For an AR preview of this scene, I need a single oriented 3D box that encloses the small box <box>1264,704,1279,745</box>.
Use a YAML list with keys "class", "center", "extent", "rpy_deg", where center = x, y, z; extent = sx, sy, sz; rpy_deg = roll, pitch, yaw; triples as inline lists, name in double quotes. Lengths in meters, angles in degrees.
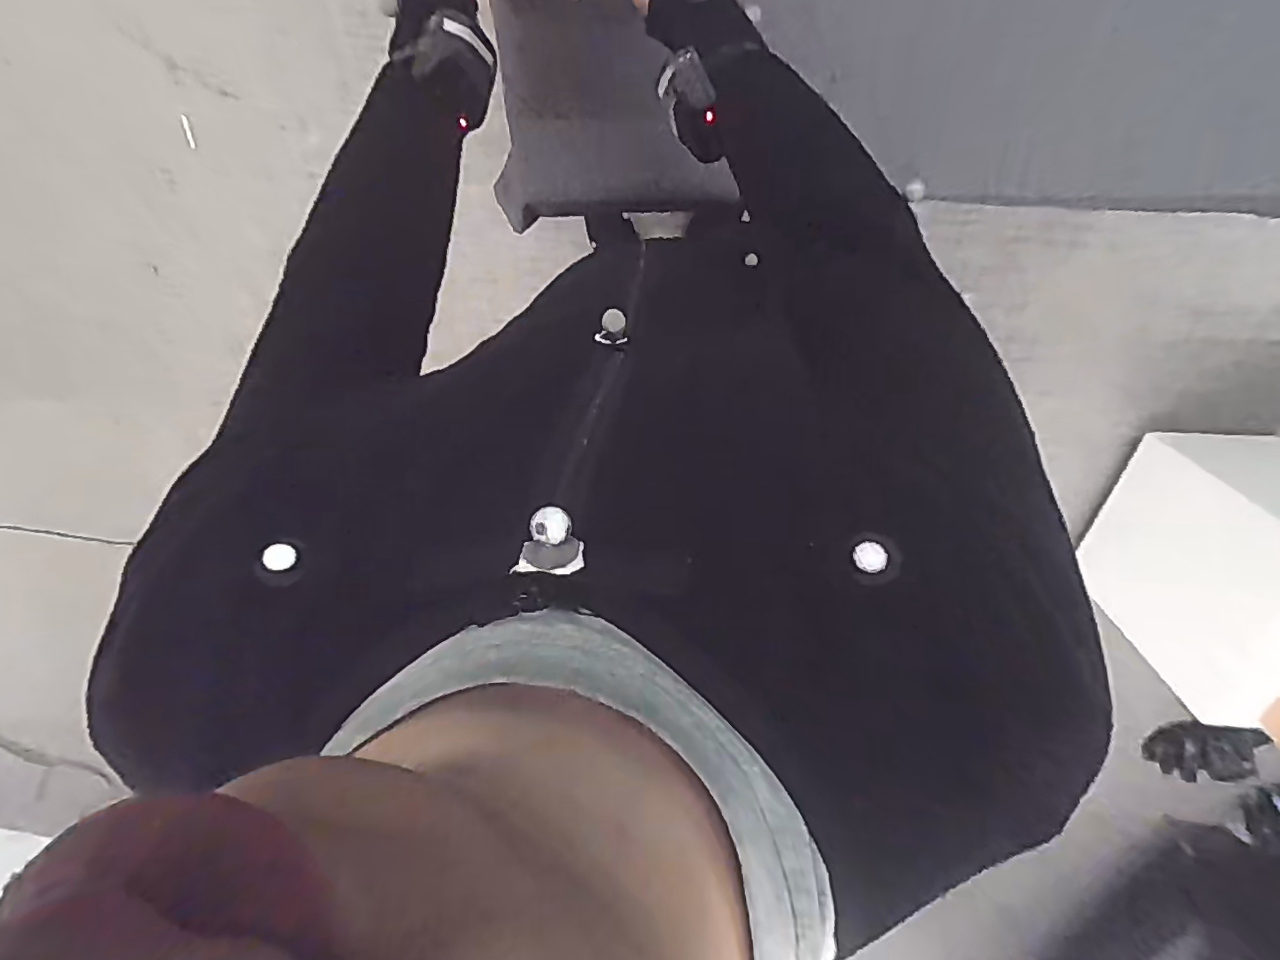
- class: "small box"
  center: [1.532, 0.555, 1.160]
  extent: [0.168, 0.176, 0.179]
  rpy_deg: [5, 122, 2]
